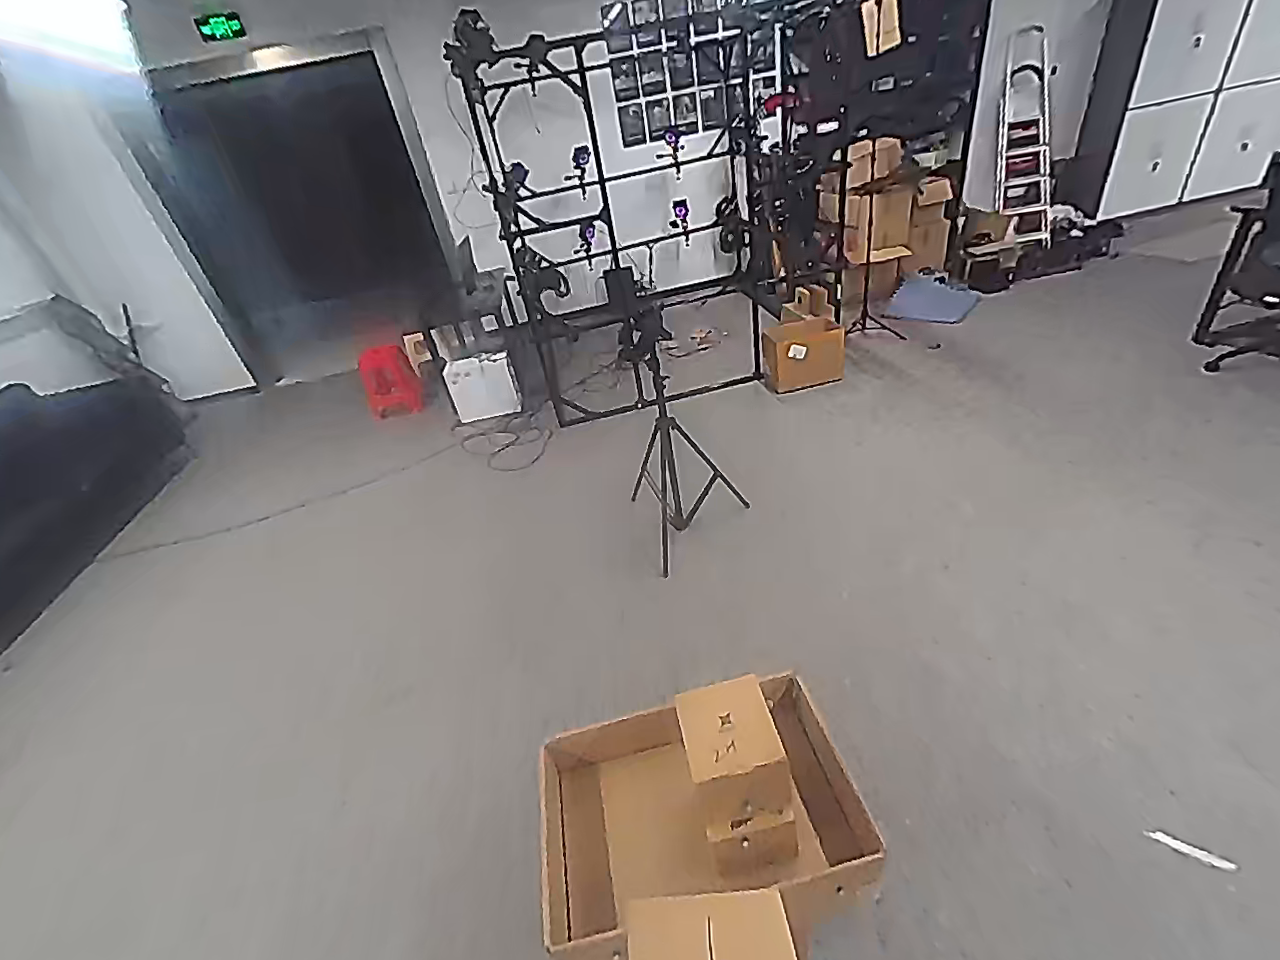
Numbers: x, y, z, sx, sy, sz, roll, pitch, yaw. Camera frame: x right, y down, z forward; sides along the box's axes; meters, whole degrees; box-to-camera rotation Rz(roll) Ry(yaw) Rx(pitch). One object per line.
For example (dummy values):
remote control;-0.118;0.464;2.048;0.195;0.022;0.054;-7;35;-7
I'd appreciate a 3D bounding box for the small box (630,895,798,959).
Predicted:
small box;0.077;0.554;0.531;0.168;0.176;0.179;-2;25;-1

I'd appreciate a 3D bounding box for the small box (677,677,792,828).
small box;0.174;0.510;1.015;0.168;0.176;0.179;-15;34;0
